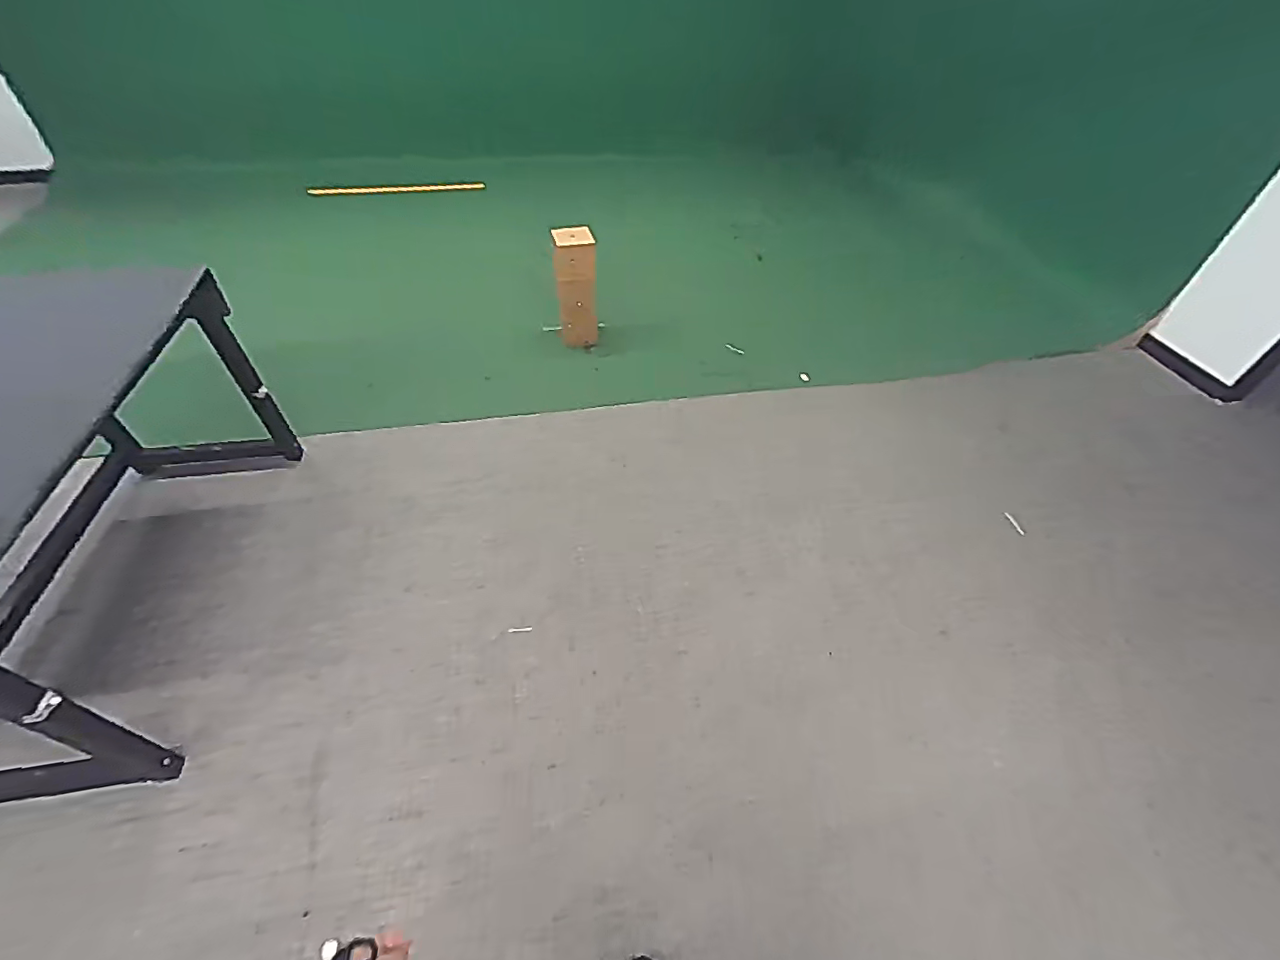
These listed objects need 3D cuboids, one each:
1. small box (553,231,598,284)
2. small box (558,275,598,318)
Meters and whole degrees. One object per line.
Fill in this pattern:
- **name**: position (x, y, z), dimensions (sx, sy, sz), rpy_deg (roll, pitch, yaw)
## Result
- **small box**: position (-0.288, -0.993, 2.425), dimensions (0.168, 0.176, 0.179), rpy_deg (-11, 47, -12)
- **small box**: position (-0.293, -0.883, 2.544), dimensions (0.168, 0.176, 0.179), rpy_deg (-9, 47, -10)
